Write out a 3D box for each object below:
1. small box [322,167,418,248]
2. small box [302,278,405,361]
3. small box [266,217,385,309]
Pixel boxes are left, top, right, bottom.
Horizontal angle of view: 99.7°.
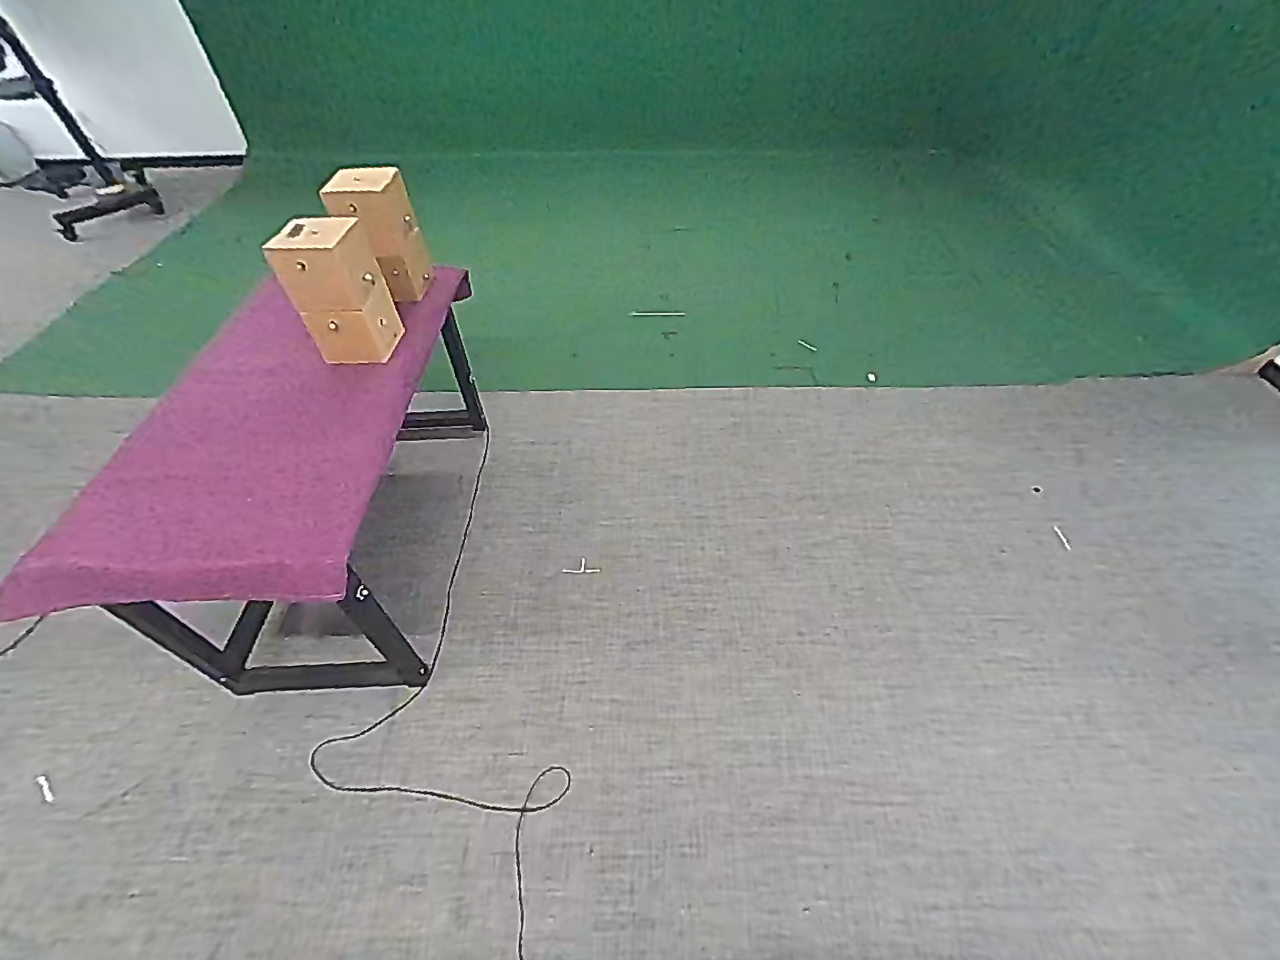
[{"bbox_3d":[-0.786,-0.800,1.595,0.179,0.176,0.168,-1,50,1],"label":"small box"},{"bbox_3d":[-0.784,-0.444,1.506,0.179,0.176,0.168,0,49,3],"label":"small box"},{"bbox_3d":[-0.793,-0.554,1.384,0.179,0.176,0.168,1,49,3],"label":"small box"}]
